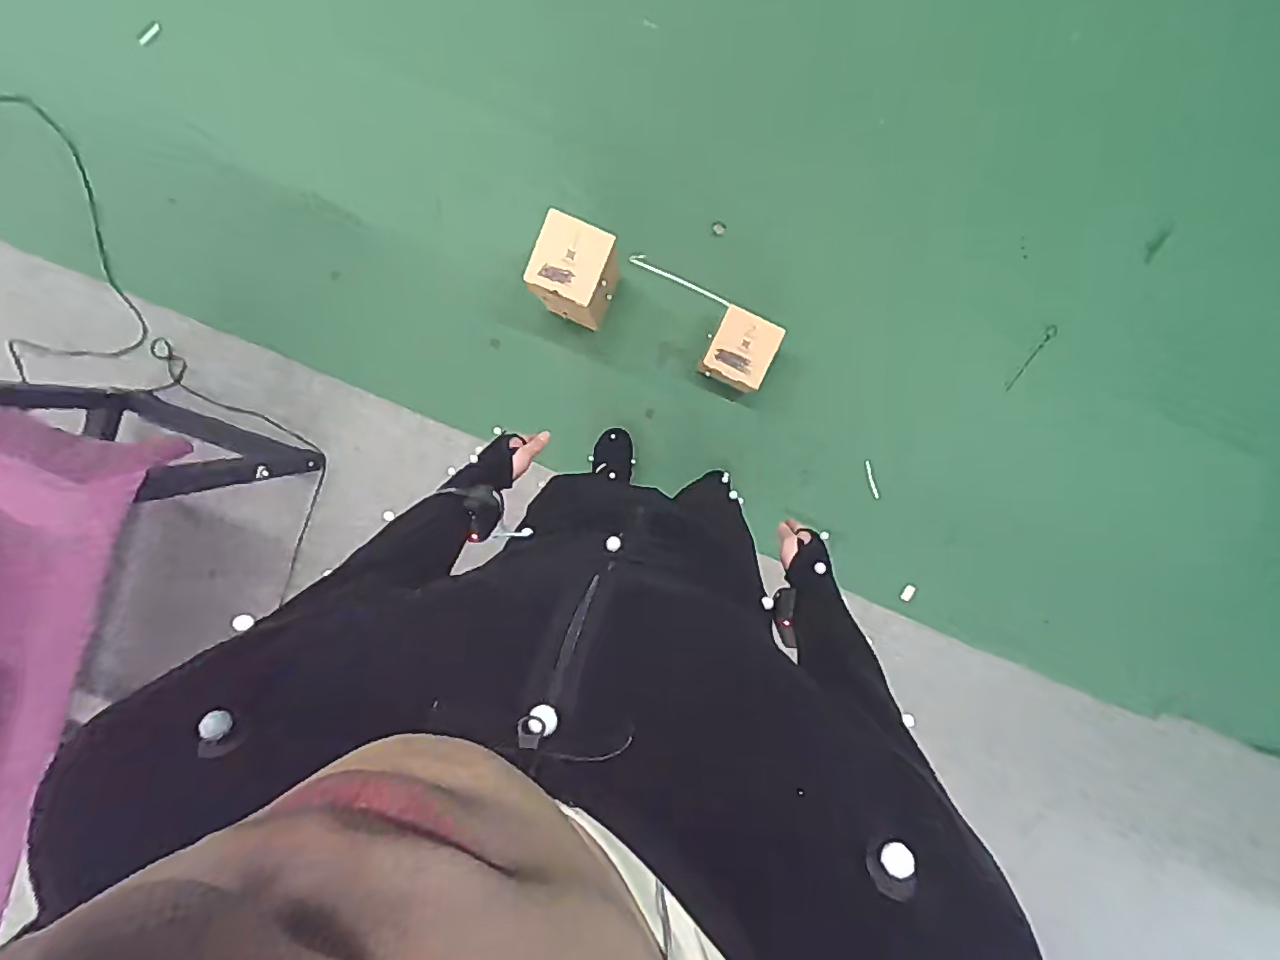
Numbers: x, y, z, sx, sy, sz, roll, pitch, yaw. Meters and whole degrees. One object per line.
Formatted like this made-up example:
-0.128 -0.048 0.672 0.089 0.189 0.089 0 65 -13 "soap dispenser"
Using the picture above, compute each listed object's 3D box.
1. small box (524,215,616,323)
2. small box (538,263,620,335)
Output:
-0.163 -0.505 1.324 0.168 0.176 0.179 23 95 -3 "small box"
-0.163 -0.521 1.488 0.168 0.176 0.179 23 96 -2 "small box"
